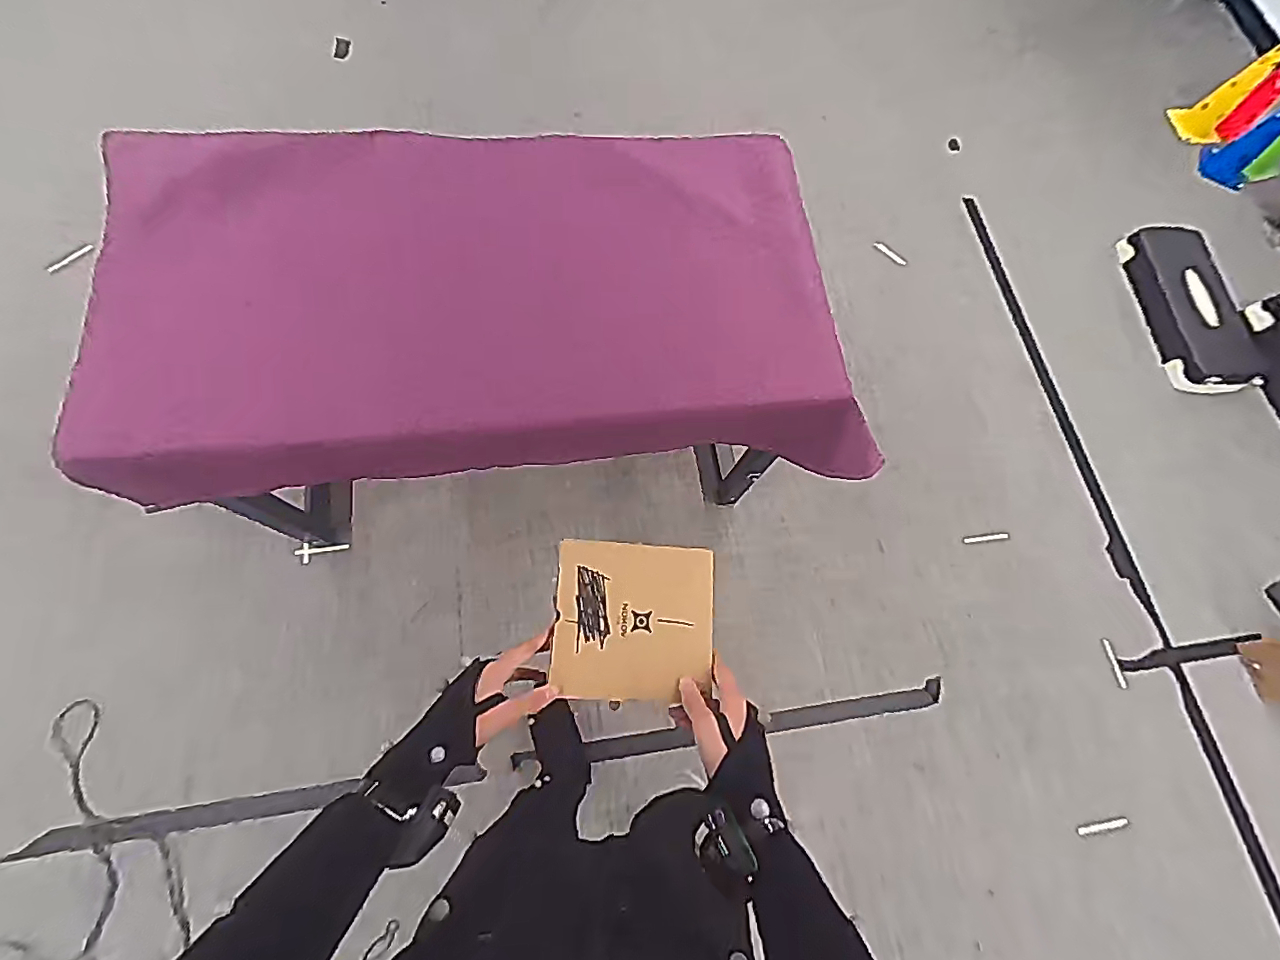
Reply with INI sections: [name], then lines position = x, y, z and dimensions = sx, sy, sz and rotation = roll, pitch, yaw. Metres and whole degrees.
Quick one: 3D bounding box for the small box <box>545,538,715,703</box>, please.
[small box]
position = -0.015, 0.173, 0.657
dimensions = 0.179, 0.176, 0.168
rotation = 5, 73, -5
